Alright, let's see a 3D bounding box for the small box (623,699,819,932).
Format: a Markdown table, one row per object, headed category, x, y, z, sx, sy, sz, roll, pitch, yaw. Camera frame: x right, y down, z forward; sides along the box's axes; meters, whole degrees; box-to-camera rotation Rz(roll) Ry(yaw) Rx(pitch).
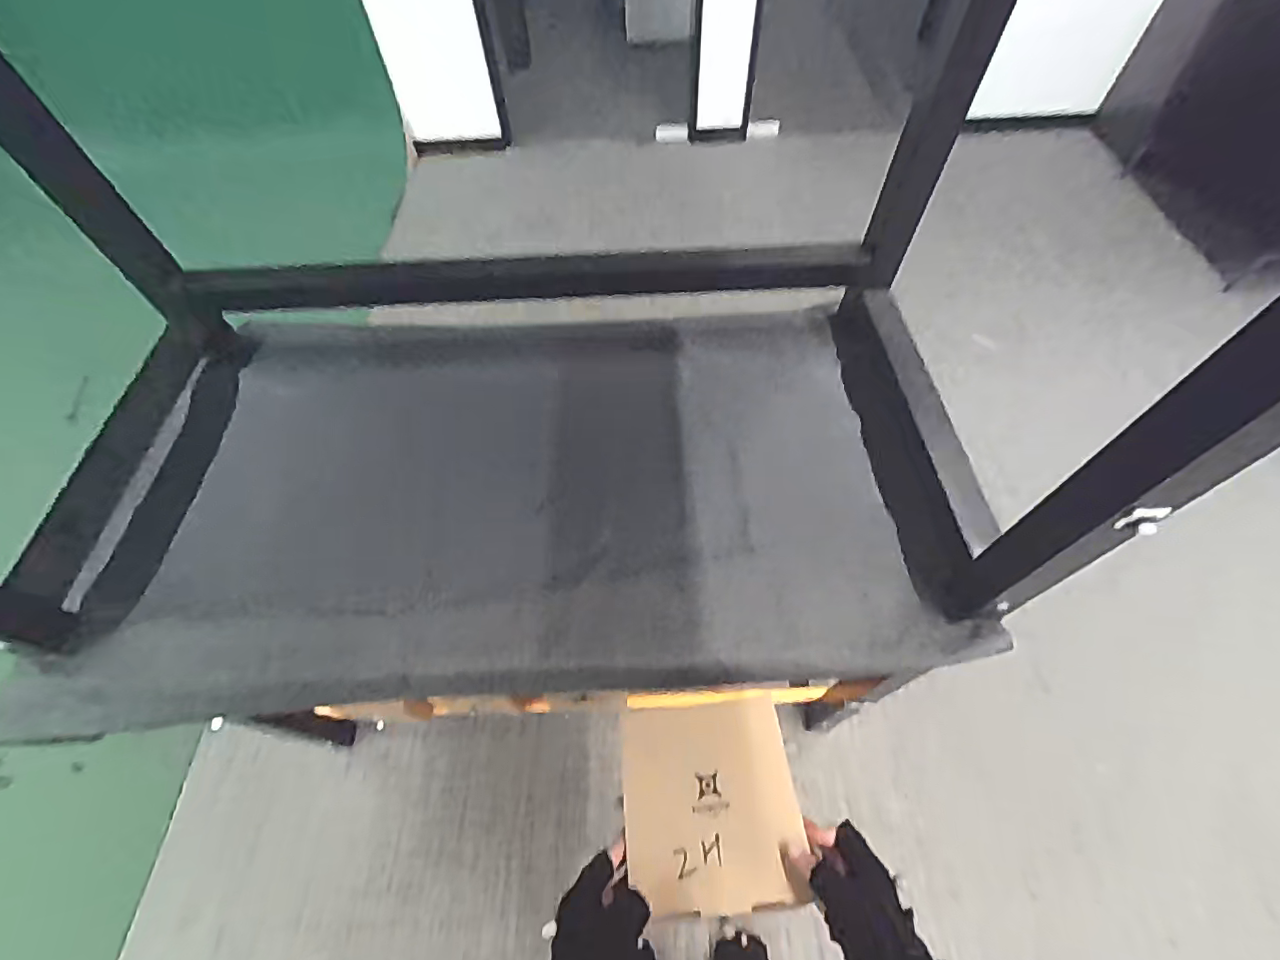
| category | x | y | z | sx | sy | sz | roll | pitch | yaw |
| --- | --- | --- | --- | --- | --- | --- | --- | --- | --- |
| small box | 0.077 | 0.360 | 0.579 | 0.168 | 0.176 | 0.179 | -9 | 48 | 2 |
